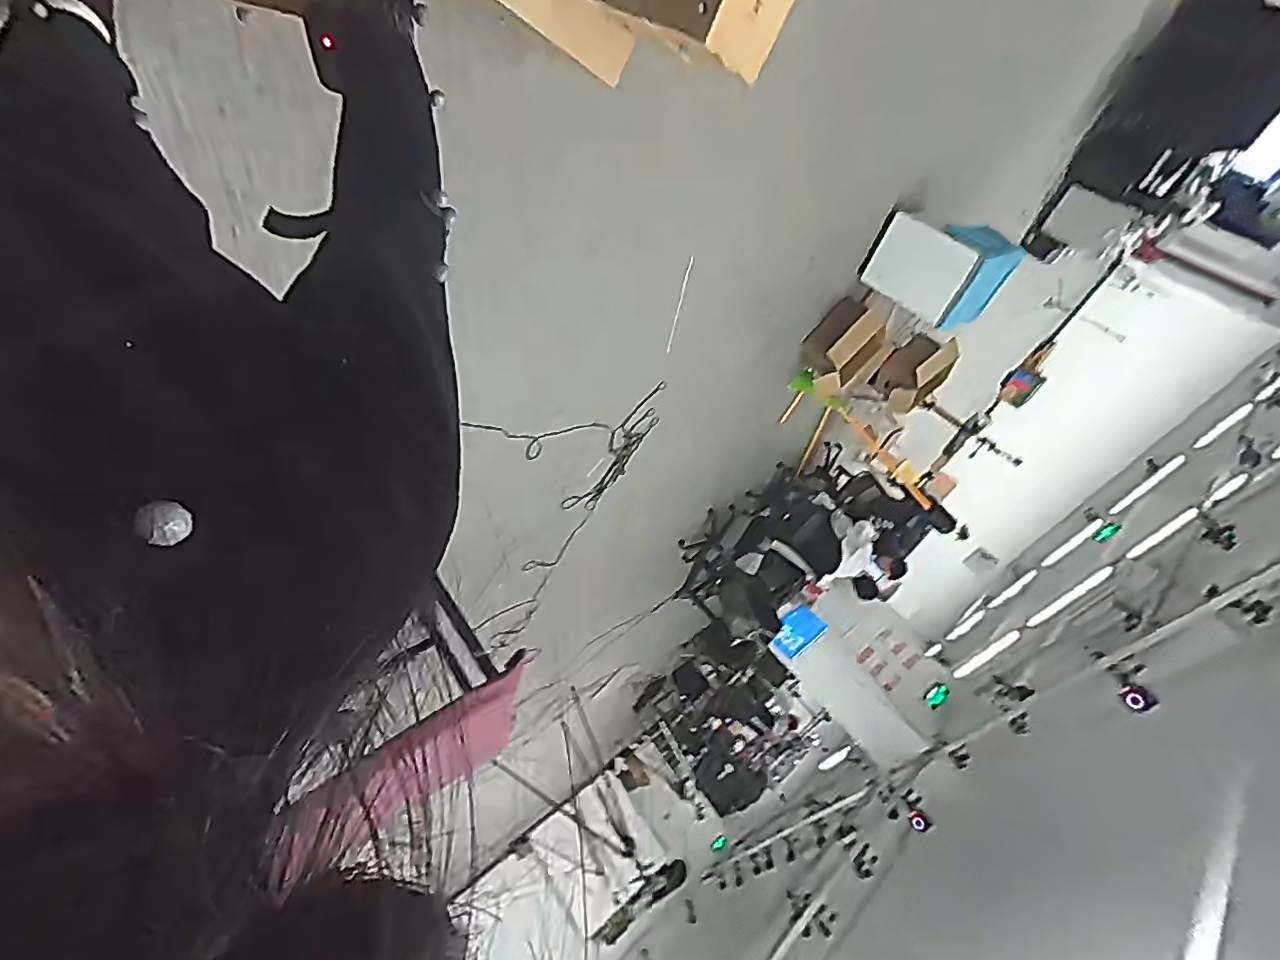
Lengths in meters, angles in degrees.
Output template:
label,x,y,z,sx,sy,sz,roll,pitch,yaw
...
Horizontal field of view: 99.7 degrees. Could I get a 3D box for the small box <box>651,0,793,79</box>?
label,x,y,z,sx,sy,sz,roll,pitch,yaw
small box,0.147,-0.855,0.941,0.168,0.176,0.179,-10,138,-49
